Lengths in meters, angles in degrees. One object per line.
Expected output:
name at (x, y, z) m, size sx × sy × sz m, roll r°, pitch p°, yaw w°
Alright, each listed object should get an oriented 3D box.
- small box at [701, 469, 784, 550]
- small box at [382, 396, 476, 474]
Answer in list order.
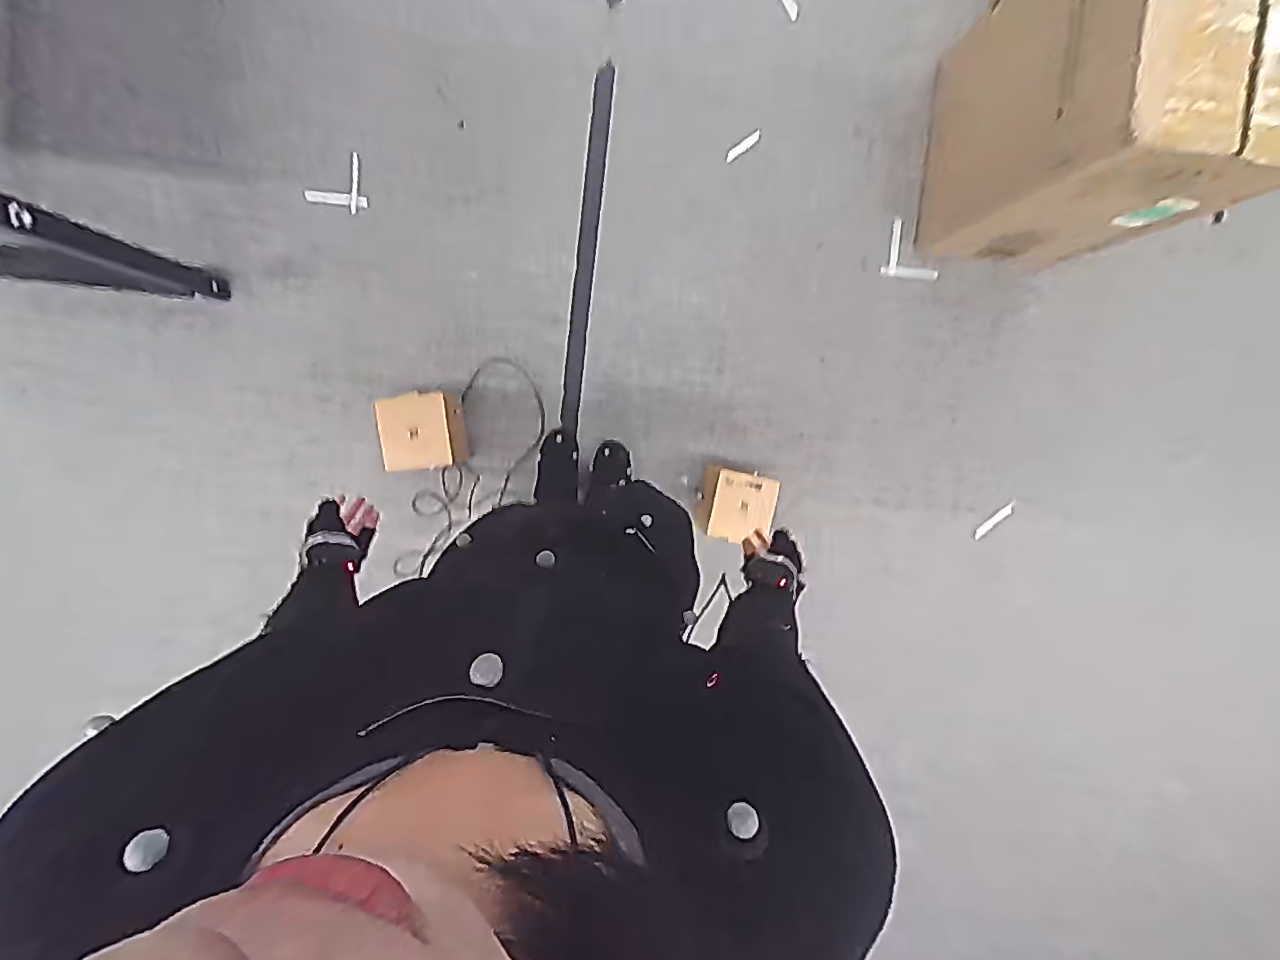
small box at (0.271, 0.075, 1.476) m, size 0.168 × 0.176 × 0.179 m, roll 11°, pitch 95°, yaw -6°
small box at (-0.534, -0.114, 1.387) m, size 0.168 × 0.176 × 0.179 m, roll -7°, pitch 96°, yaw -1°
